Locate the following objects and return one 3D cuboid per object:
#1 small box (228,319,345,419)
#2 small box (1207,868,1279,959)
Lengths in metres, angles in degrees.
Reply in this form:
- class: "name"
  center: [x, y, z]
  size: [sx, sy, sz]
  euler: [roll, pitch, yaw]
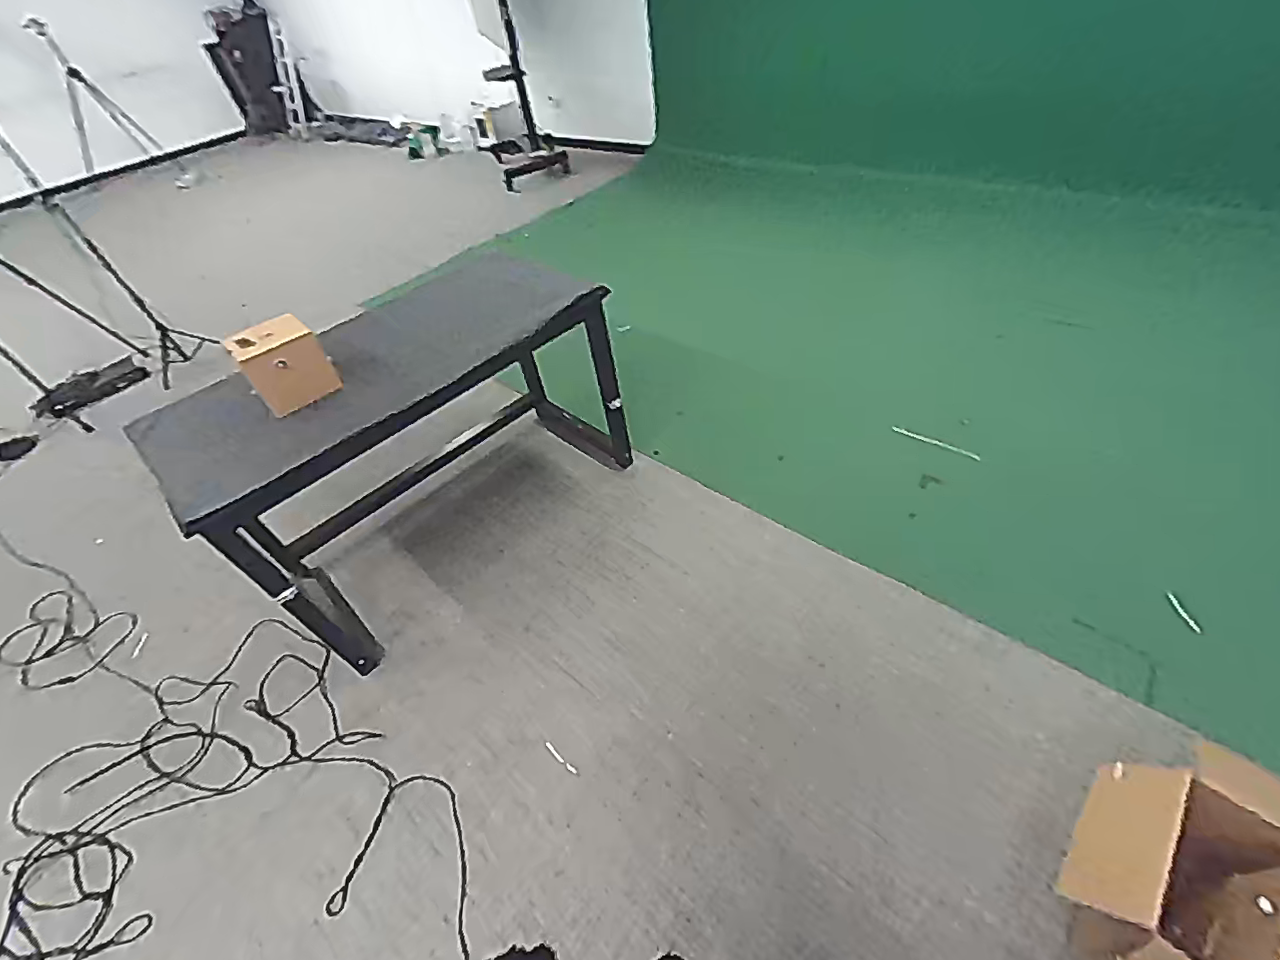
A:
- class: "small box"
  center: [-0.908, -0.286, 1.399]
  size: [0.179, 0.176, 0.168]
  euler: [-37, 51, -26]
- class: "small box"
  center: [1.022, 0.739, 0.816]
  size: [0.179, 0.176, 0.168]
  euler: [-39, 52, -25]
